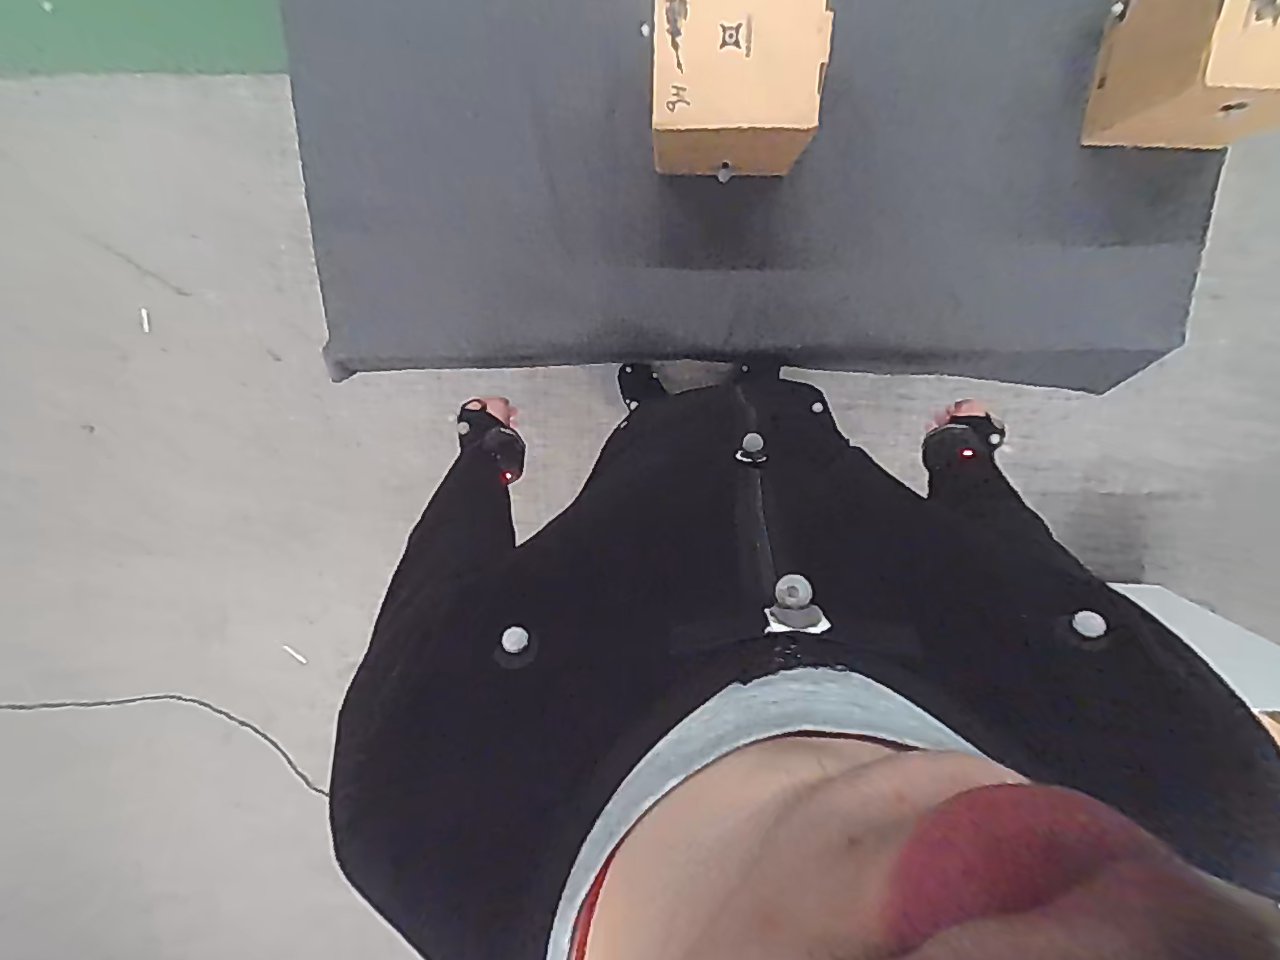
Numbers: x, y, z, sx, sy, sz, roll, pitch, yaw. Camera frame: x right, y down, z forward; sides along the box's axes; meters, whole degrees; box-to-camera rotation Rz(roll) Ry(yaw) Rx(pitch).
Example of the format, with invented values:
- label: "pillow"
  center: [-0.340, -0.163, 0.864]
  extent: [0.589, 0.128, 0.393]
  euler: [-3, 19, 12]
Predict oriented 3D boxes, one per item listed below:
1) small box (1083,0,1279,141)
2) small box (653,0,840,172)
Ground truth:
- label: "small box"
  center: [0.645, -0.493, 0.592]
  extent: [0.179, 0.176, 0.168]
  euler: [2, 105, 0]
- label: "small box"
  center: [0.106, -0.463, 0.609]
  extent: [0.179, 0.176, 0.168]
  euler: [0, 104, 0]
